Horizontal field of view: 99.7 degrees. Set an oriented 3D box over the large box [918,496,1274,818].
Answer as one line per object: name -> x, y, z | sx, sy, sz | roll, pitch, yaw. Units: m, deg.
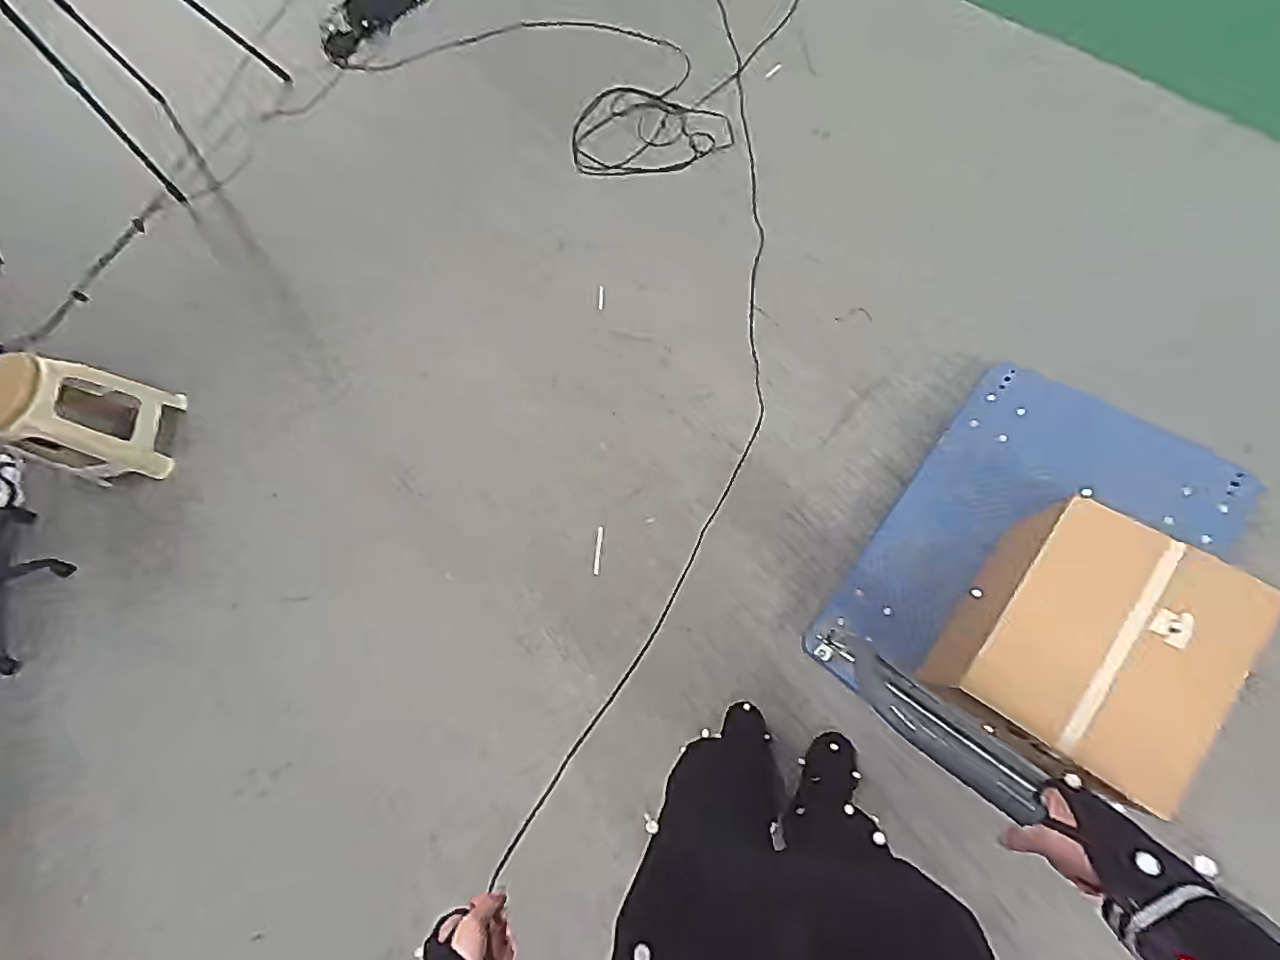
large box -> 0.790, 0.309, 1.004 | 0.320, 0.320, 0.408 | 33, 82, 20
